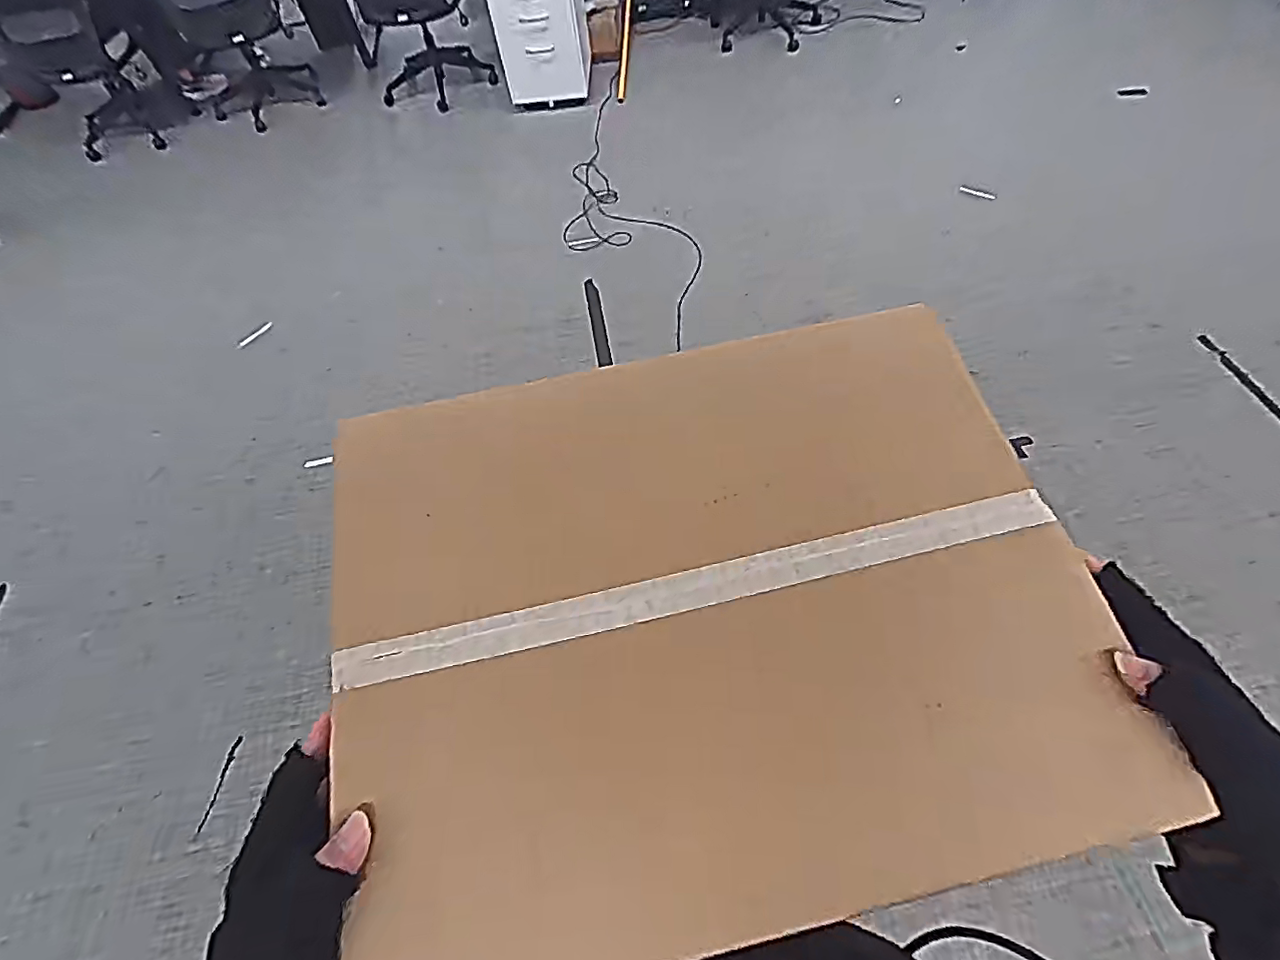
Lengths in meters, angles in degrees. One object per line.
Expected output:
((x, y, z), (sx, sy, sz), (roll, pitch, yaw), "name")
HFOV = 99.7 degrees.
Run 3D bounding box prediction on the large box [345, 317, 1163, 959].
((0.040, 0.123, 0.447), (0.408, 0.320, 0.320), (-13, 66, -3), "large box")
